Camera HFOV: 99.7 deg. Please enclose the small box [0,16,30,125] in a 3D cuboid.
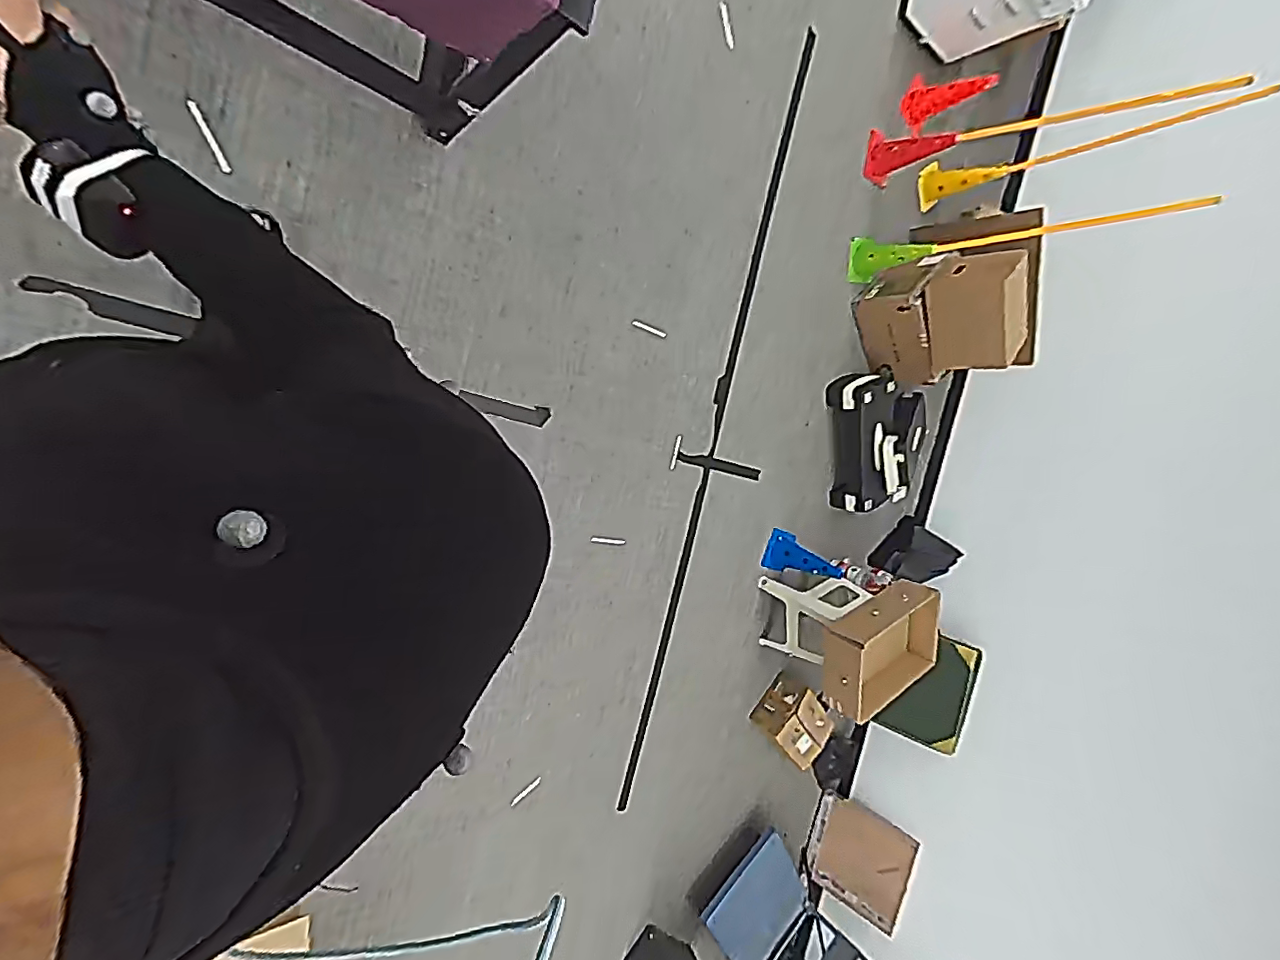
[{"bbox_3d":[-0.598,-0.380,0.383,0.179,0.176,0.168,-26,111,-40],"label":"small box"}]
